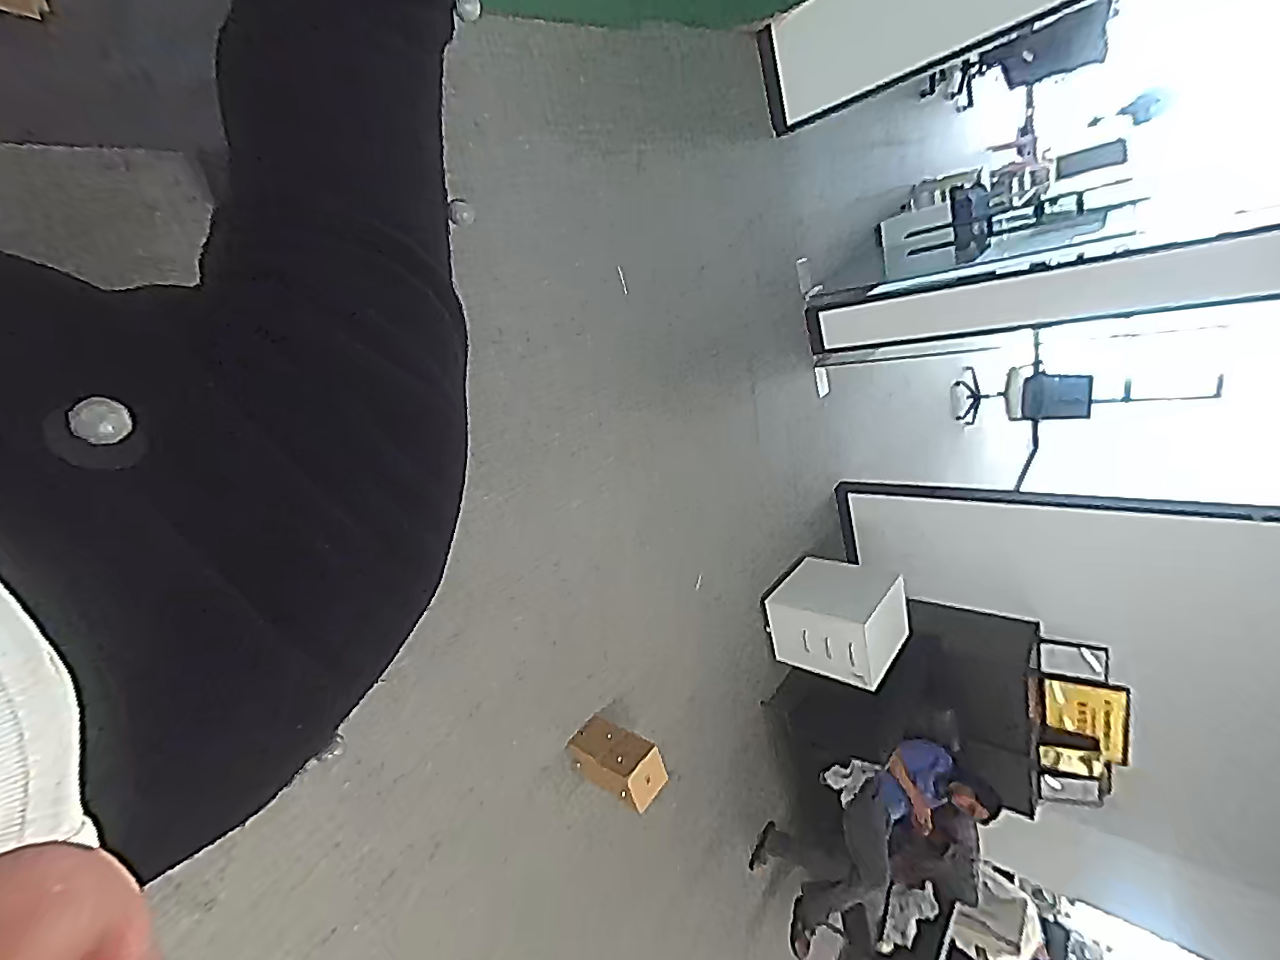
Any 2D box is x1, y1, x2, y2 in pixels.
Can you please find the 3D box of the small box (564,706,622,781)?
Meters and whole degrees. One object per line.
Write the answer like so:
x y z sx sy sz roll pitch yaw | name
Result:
-0.168 1.027 2.122 0.168 0.176 0.179 -34 117 -40 | small box

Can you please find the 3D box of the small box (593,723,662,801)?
-0.049 1.037 2.012 0.168 0.176 0.179 -36 119 -38 | small box
